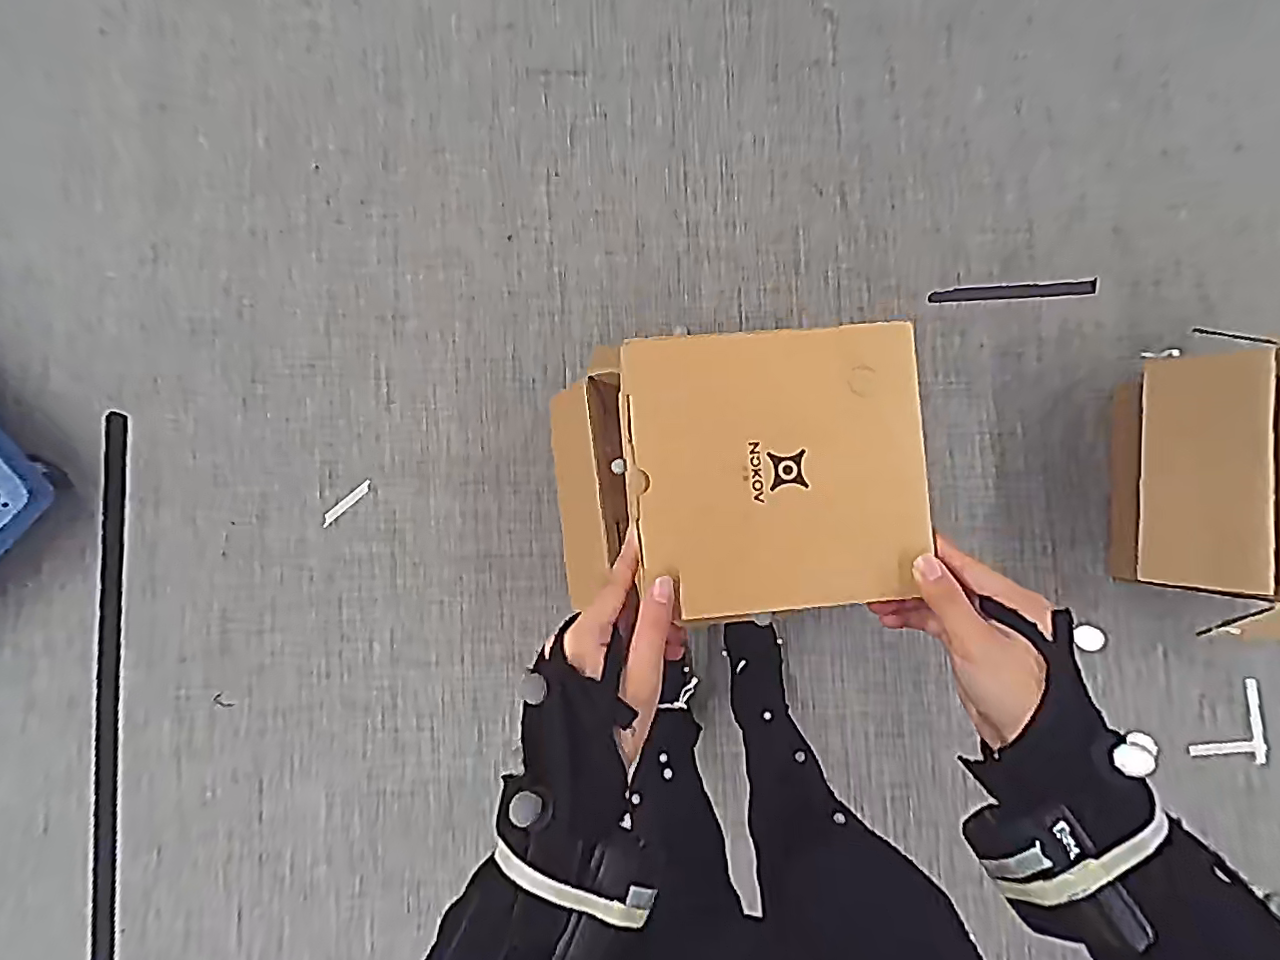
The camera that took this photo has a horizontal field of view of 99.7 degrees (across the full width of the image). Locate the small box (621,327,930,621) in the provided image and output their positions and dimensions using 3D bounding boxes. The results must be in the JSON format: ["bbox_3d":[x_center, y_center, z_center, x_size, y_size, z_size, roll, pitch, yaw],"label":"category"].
[{"bbox_3d":[0.078,-0.004,0.399,0.179,0.176,0.168,-5,89,-1],"label":"small box"}]
